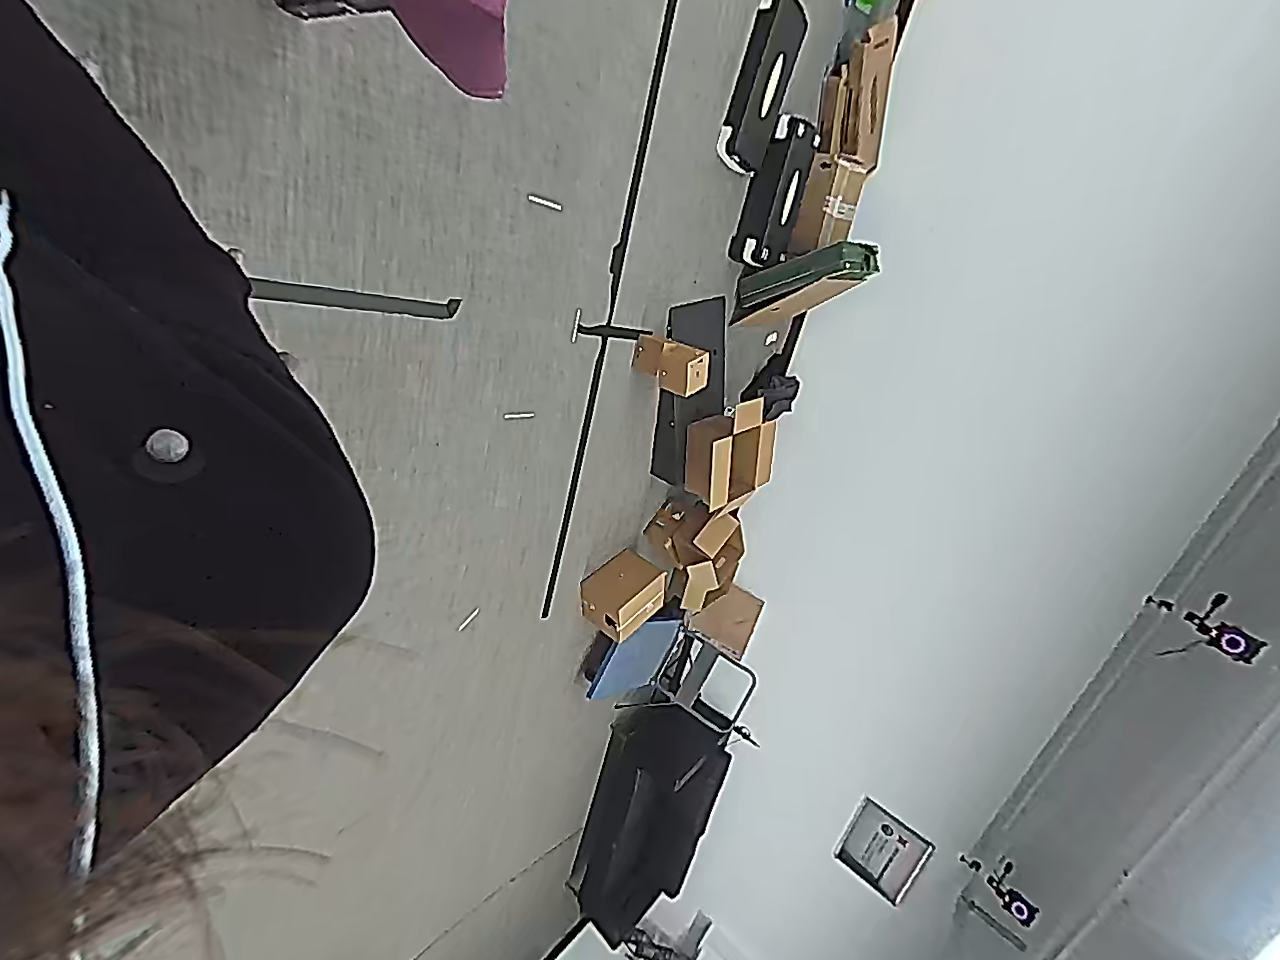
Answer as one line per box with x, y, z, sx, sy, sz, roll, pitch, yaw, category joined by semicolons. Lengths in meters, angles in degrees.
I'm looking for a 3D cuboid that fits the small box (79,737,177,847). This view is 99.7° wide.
-1.489;0.898;1.572;0.179;0.176;0.168;-17;127;-51;small box
